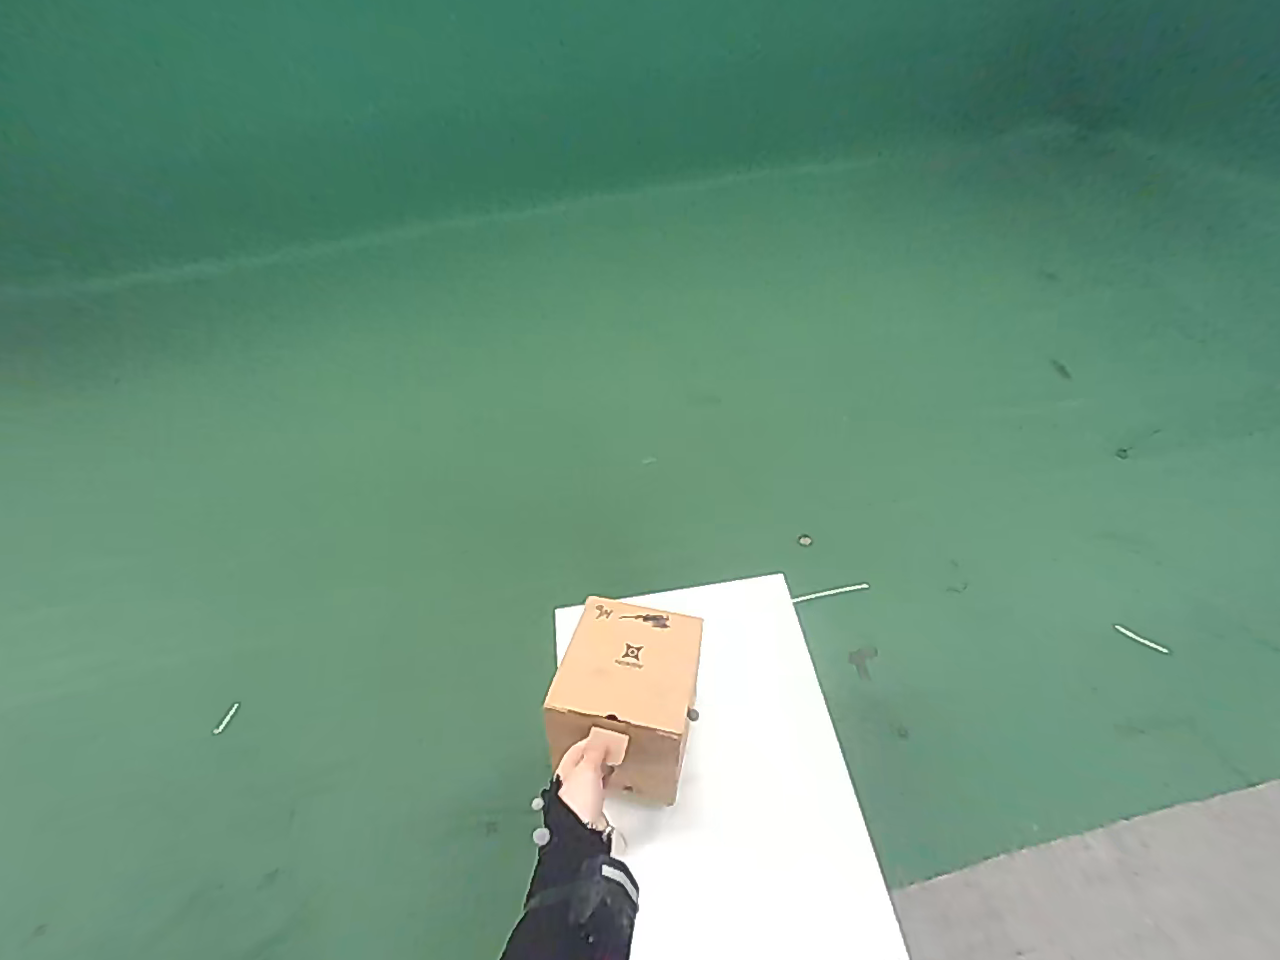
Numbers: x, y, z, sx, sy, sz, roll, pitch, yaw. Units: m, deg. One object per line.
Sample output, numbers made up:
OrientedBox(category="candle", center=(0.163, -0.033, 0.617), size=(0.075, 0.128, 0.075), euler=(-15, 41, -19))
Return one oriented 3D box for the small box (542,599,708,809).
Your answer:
OrientedBox(category="small box", center=(-0.010, 0.290, 0.707), size=(0.168, 0.176, 0.179), euler=(10, 36, 12))
